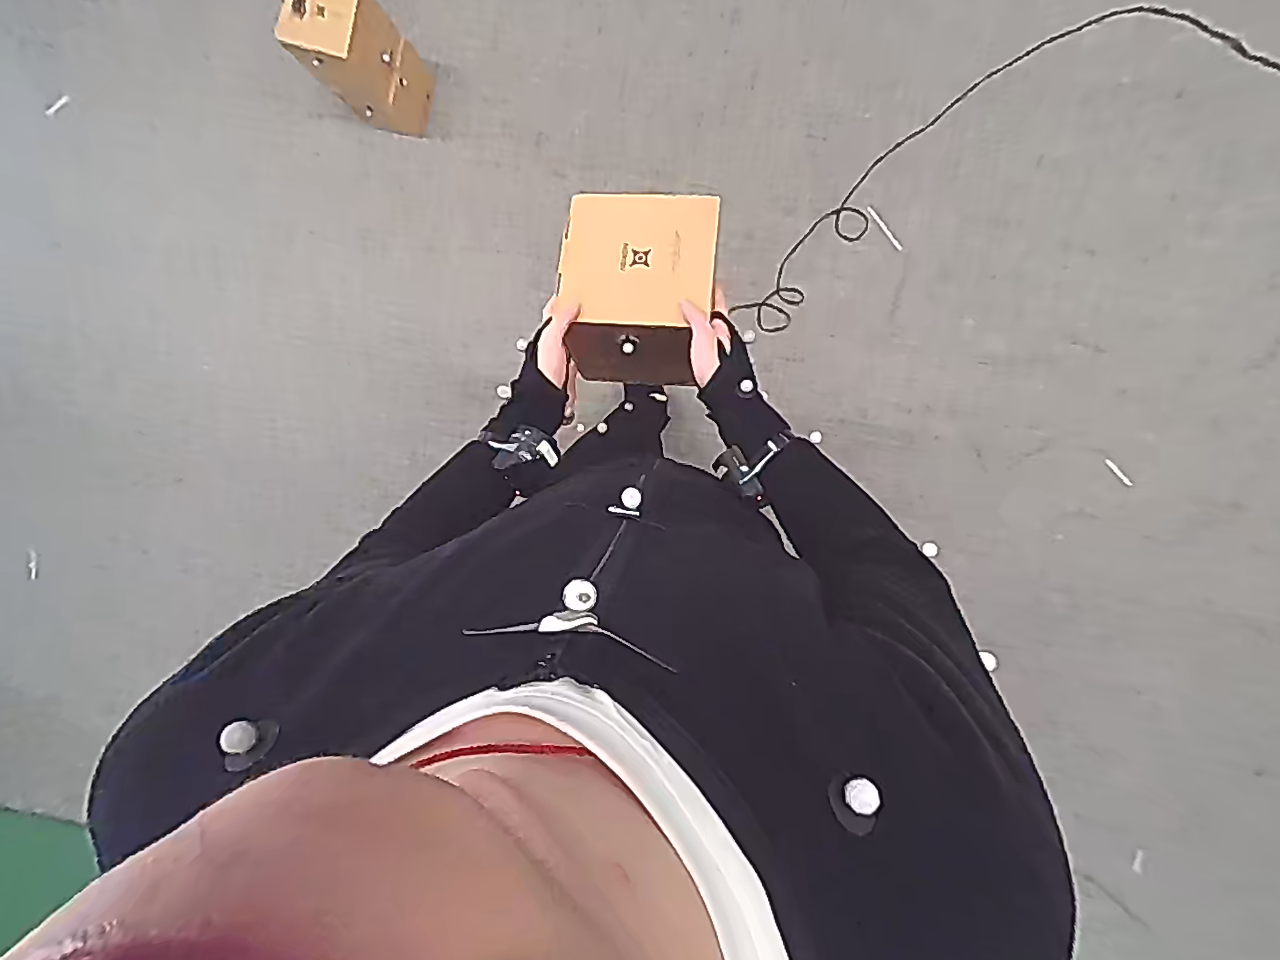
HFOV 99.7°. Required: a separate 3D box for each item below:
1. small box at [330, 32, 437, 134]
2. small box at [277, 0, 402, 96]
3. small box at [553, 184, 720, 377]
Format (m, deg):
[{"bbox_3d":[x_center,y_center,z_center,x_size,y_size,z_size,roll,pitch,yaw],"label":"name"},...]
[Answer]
[{"bbox_3d":[-0.670,-1.052,1.427,0.179,0.176,0.168,15,96,4],"label":"small box"},{"bbox_3d":[-0.694,-1.042,1.264,0.179,0.176,0.168,17,96,3],"label":"small box"},{"bbox_3d":[0.005,-0.240,0.681,0.179,0.176,0.168,5,77,6],"label":"small box"}]
